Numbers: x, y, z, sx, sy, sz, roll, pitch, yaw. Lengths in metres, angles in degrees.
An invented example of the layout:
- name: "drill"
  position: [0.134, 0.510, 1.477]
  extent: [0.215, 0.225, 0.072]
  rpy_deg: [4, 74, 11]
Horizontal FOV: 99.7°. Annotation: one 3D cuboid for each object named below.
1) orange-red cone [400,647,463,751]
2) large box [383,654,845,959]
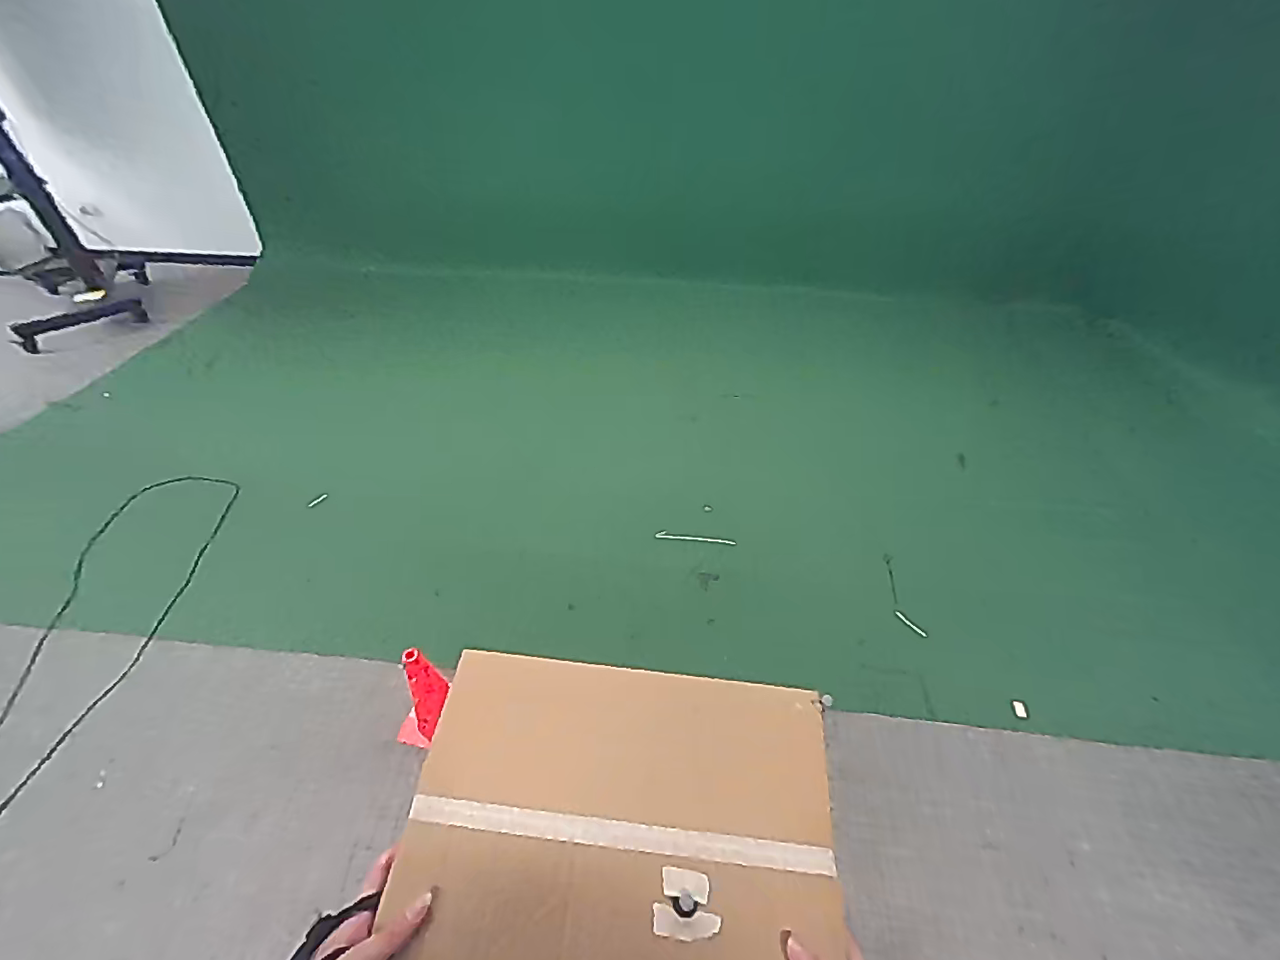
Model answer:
- name: "orange-red cone"
  position: [-0.601, 0.581, 1.521]
  extent: [0.199, 0.360, 0.198]
  rpy_deg: [8, 43, 11]
- name: "large box"
  position: [-0.016, 0.428, 0.639]
  extent: [0.408, 0.320, 0.320]
  rpy_deg: [5, 52, 3]
